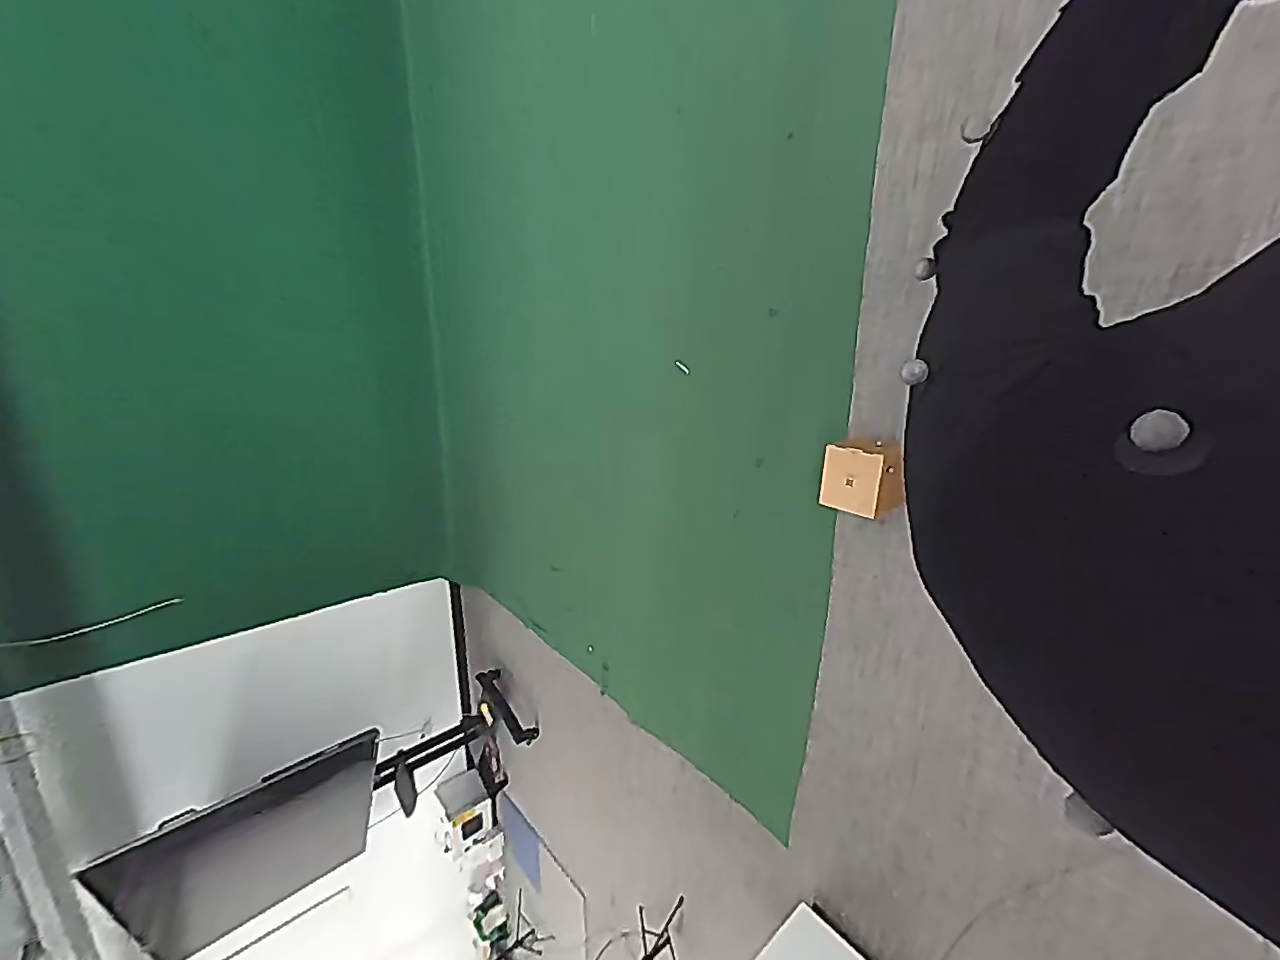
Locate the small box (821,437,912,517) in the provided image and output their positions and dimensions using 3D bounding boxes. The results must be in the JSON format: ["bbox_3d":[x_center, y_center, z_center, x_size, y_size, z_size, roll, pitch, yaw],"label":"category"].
[{"bbox_3d":[0.631,-0.014,1.504,0.168,0.176,0.179,19,112,46],"label":"small box"}]
